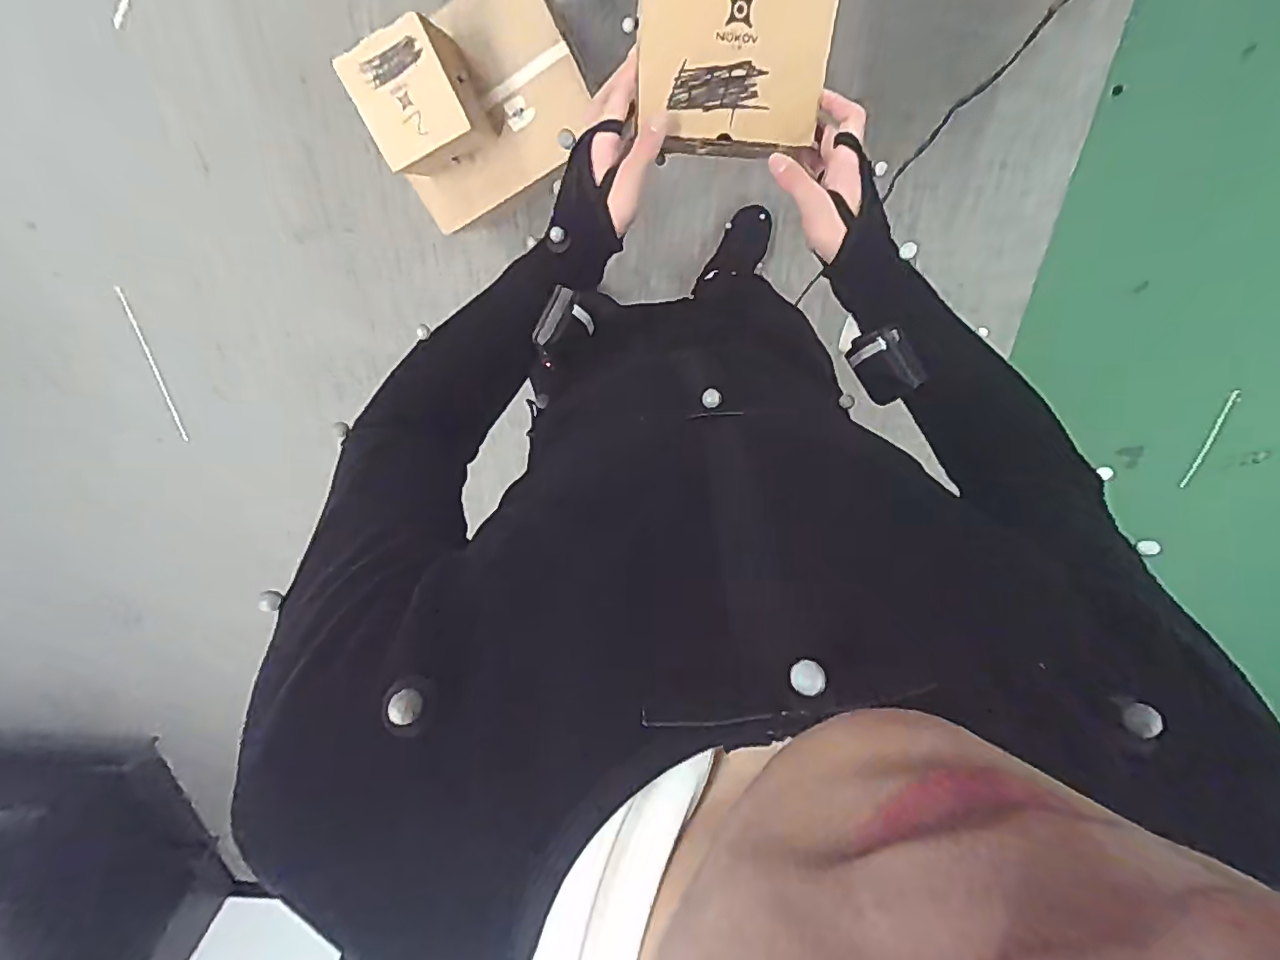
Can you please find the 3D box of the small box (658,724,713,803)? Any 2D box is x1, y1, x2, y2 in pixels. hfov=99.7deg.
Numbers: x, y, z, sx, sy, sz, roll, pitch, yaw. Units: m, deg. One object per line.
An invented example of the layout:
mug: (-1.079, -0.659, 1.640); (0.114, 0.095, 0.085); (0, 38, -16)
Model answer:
small box: (0.164, 1.015, 1.942); (0.168, 0.176, 0.179); (11, 117, 0)

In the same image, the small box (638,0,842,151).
small box: (0.085, -0.427, 0.521); (0.168, 0.176, 0.179); (2, 117, -3)

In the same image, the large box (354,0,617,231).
large box: (-0.300, -0.792, 1.170); (0.408, 0.320, 0.320); (-25, 115, 14)

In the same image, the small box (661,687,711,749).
small box: (0.180, 0.935, 2.084); (0.168, 0.176, 0.179); (8, 117, 3)
